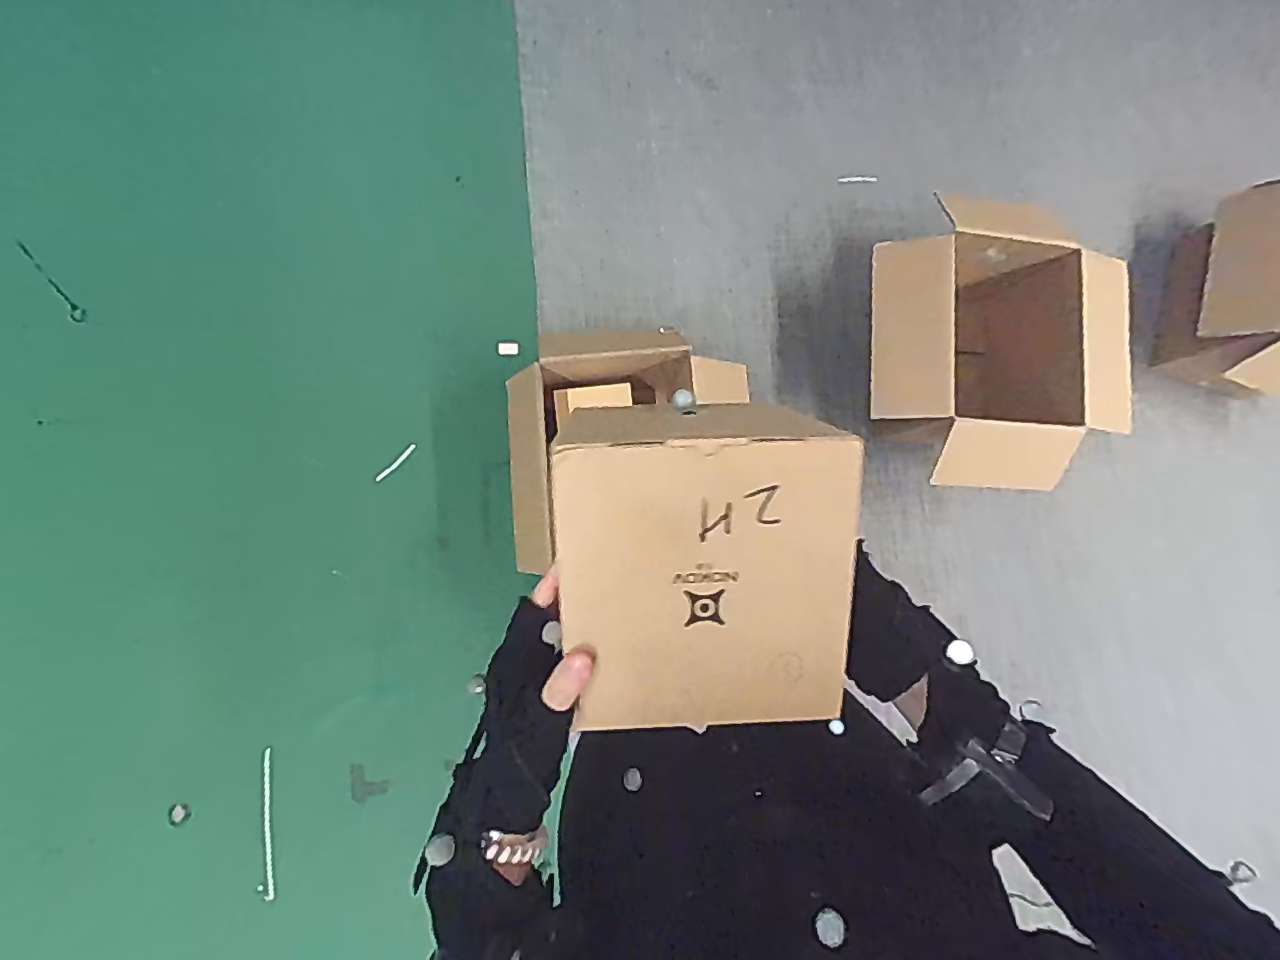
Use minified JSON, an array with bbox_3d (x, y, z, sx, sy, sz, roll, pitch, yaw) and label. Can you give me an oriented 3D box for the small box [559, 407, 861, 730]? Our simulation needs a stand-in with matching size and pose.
[{"bbox_3d":[0.034,0.046,0.385,0.168,0.176,0.179,-2,104,-3],"label":"small box"}]
